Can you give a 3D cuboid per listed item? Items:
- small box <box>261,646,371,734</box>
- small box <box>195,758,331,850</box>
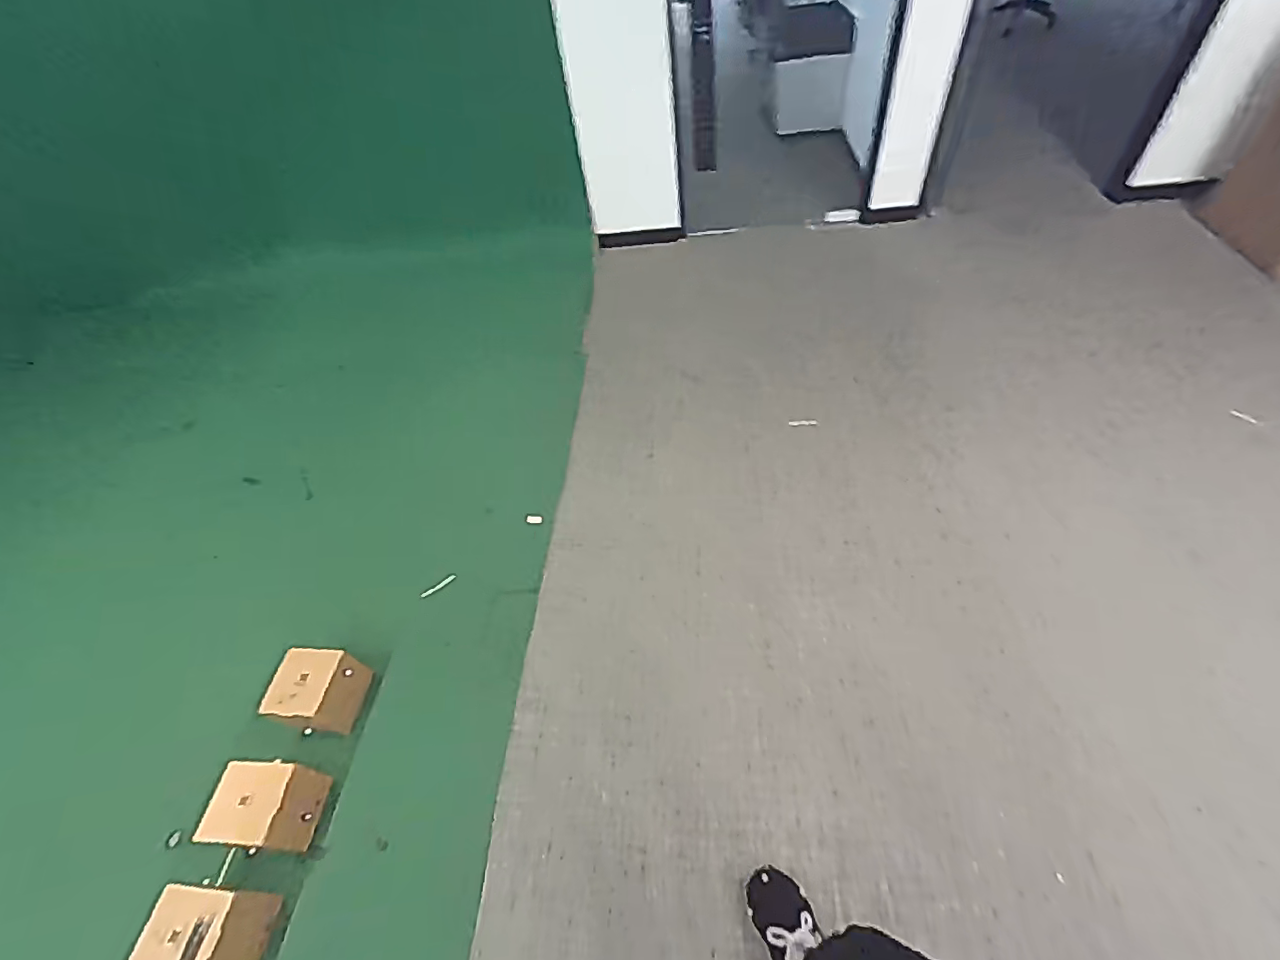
[{"bbox_3d":[-0.876,0.577,1.485,0.168,0.176,0.179,1,50,9],"label":"small box"},{"bbox_3d":[-0.903,0.791,1.315,0.179,0.176,0.168,-1,50,7],"label":"small box"}]
